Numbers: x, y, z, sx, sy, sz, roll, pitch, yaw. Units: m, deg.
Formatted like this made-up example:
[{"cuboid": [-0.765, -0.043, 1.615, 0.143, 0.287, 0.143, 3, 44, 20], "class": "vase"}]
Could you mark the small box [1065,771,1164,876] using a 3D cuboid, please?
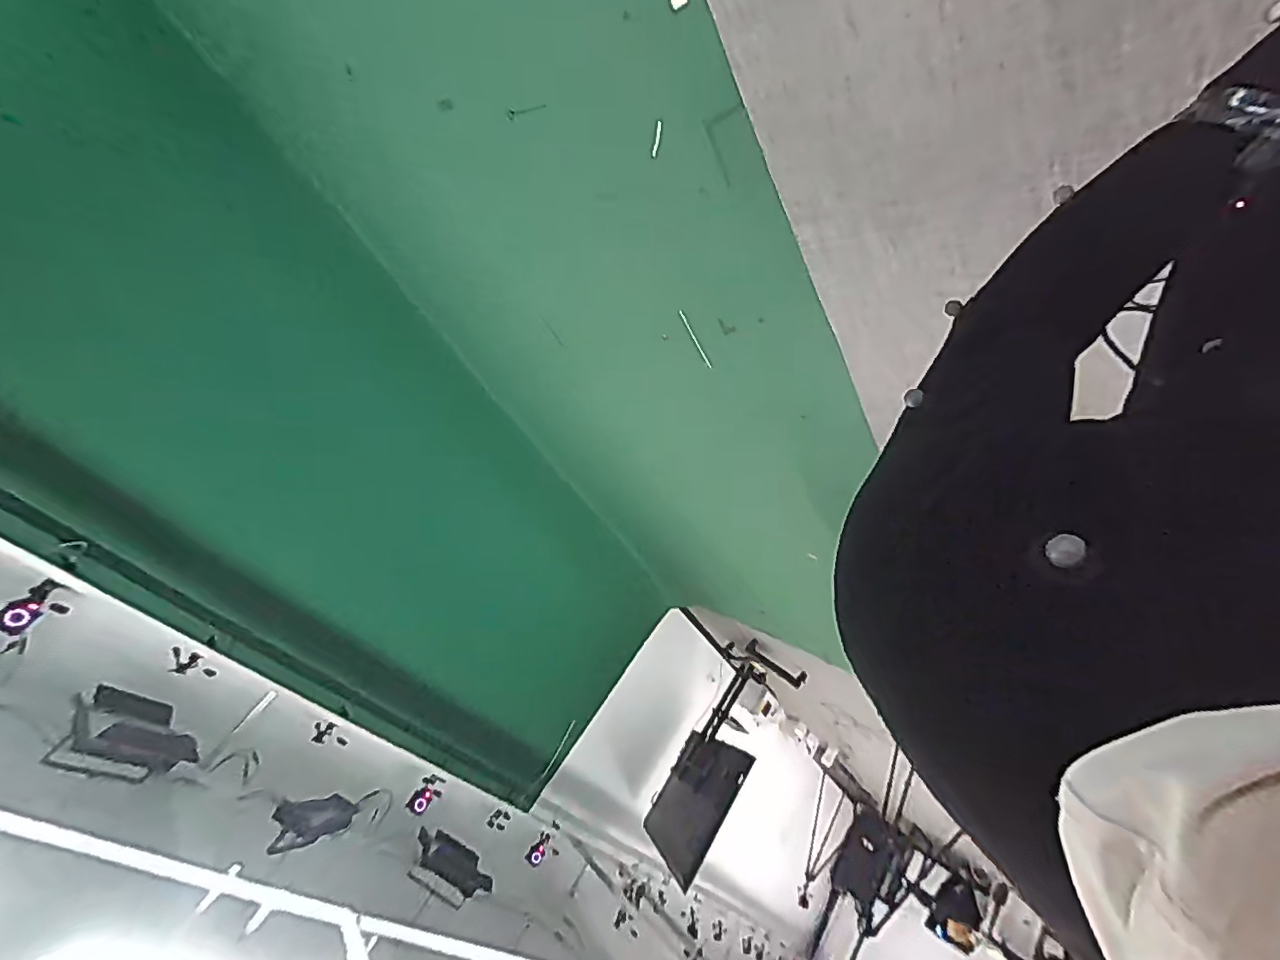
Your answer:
[{"cuboid": [1.341, 0.957, 1.526, 0.179, 0.176, 0.168, 9, 146, 51], "class": "small box"}]
